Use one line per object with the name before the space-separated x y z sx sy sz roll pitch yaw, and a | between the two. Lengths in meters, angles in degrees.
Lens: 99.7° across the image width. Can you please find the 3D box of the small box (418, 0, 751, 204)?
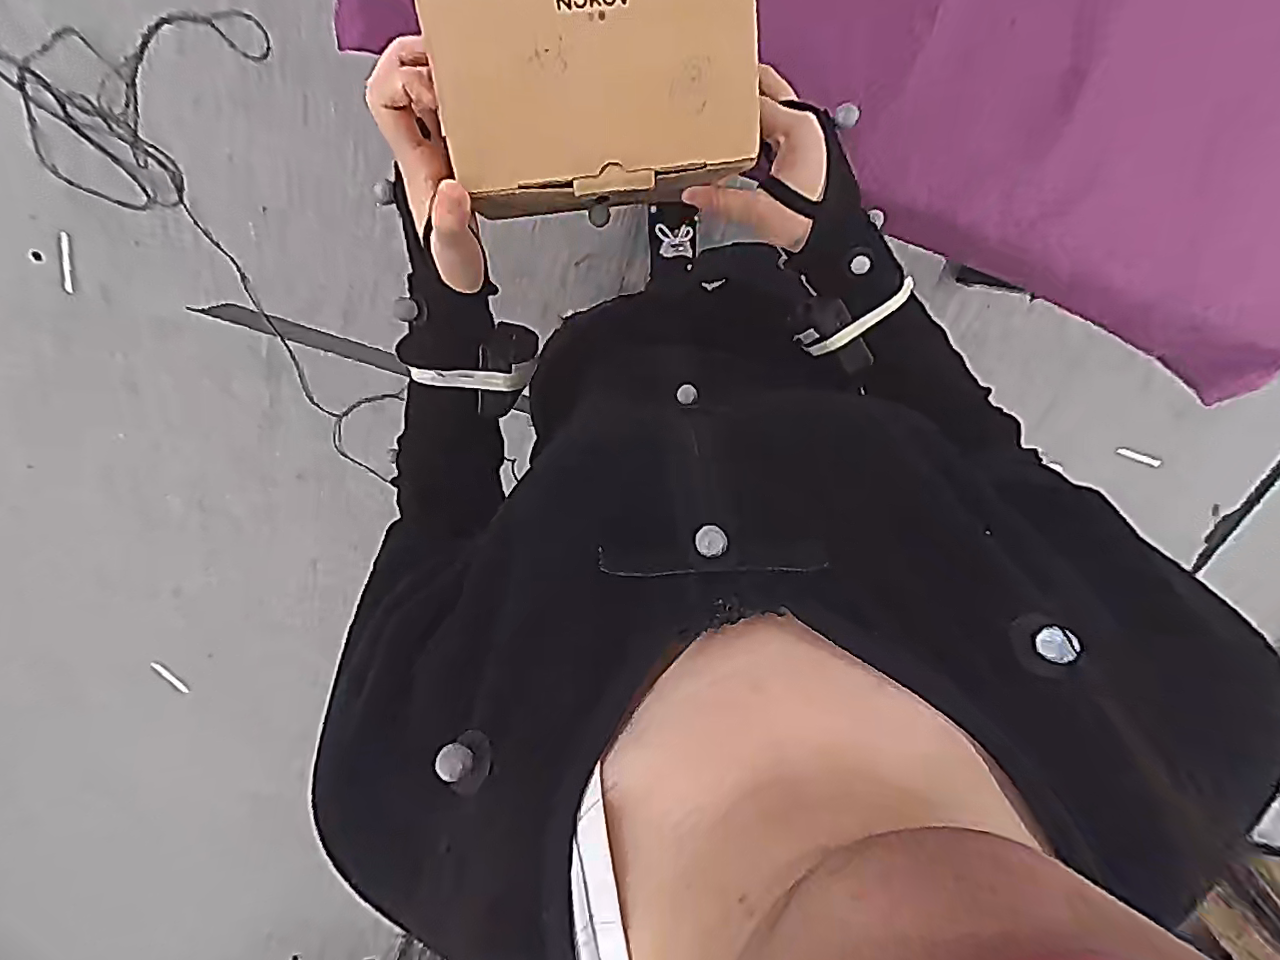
small box | -0.039 -0.276 0.333 0.168 0.176 0.179 -10 114 -7
